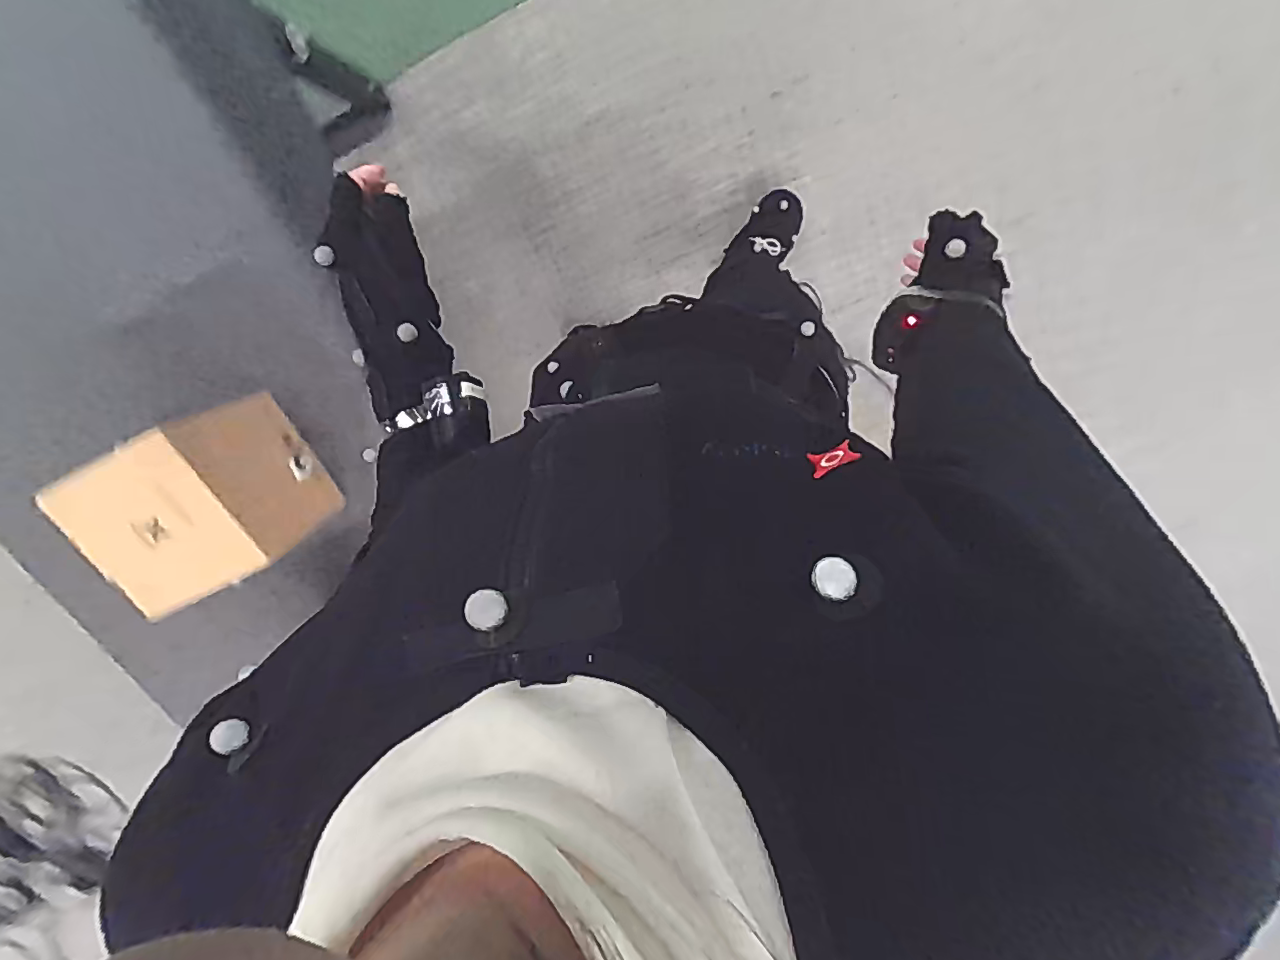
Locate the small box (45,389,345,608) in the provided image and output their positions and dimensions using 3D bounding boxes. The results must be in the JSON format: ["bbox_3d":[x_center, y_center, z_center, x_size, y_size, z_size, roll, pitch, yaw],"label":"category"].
[{"bbox_3d":[-0.500,0.014,0.639,0.179,0.176,0.168,-25,110,10],"label":"small box"}]
